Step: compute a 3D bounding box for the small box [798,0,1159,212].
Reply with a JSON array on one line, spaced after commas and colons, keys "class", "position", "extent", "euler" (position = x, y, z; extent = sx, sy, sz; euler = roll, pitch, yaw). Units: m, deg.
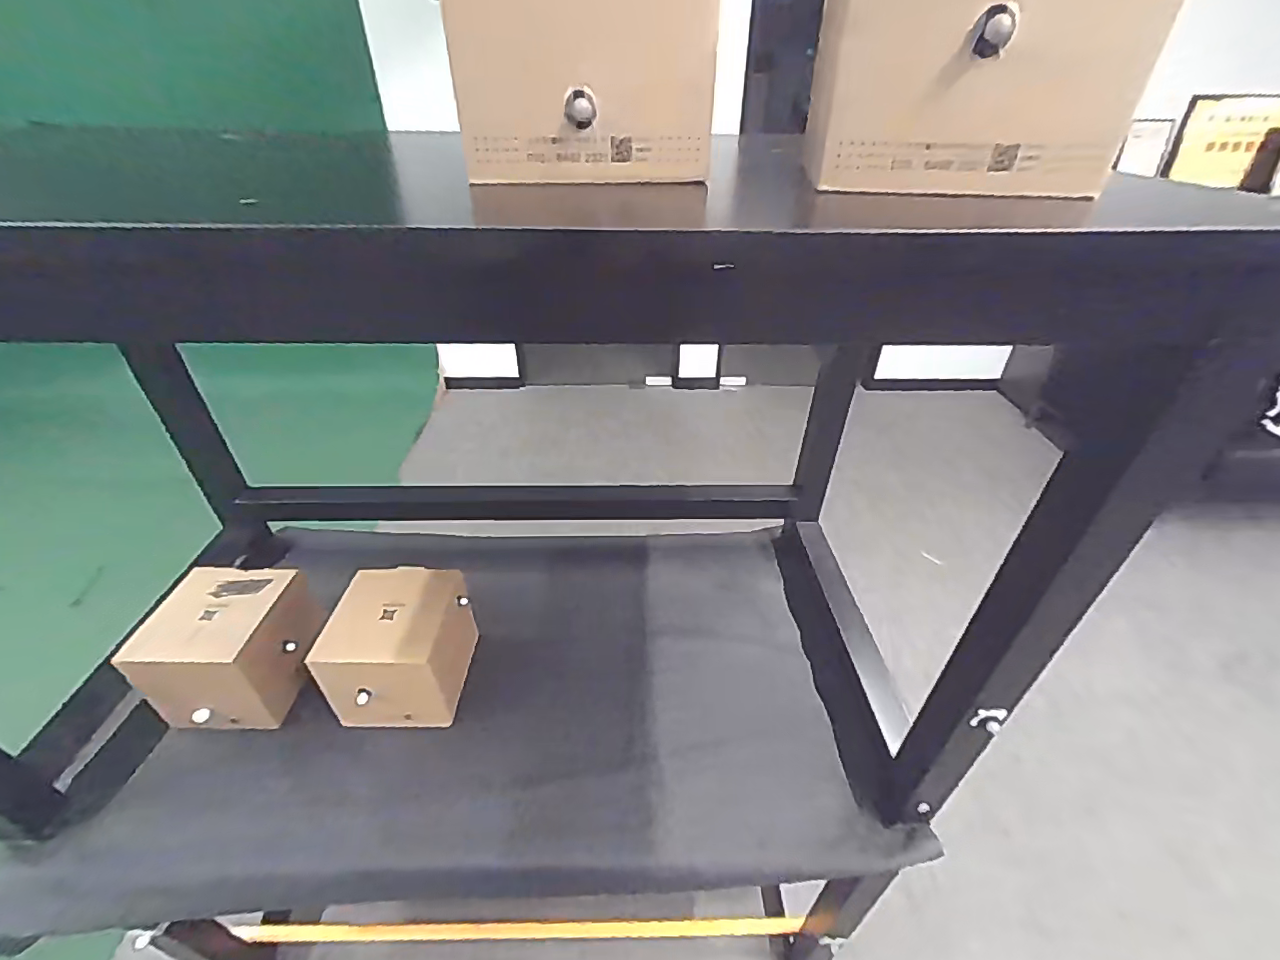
[{"class": "small box", "position": [0.206, -0.285, 0.362], "extent": [0.168, 0.176, 0.179], "euler": [7, 36, 8]}]

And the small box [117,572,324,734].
[{"class": "small box", "position": [-0.621, 0.263, 0.836], "extent": [0.168, 0.176, 0.179], "euler": [1, 36, 0]}]

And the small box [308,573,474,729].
[{"class": "small box", "position": [-0.368, 0.266, 0.842], "extent": [0.168, 0.176, 0.179], "euler": [1, 35, -1]}]
